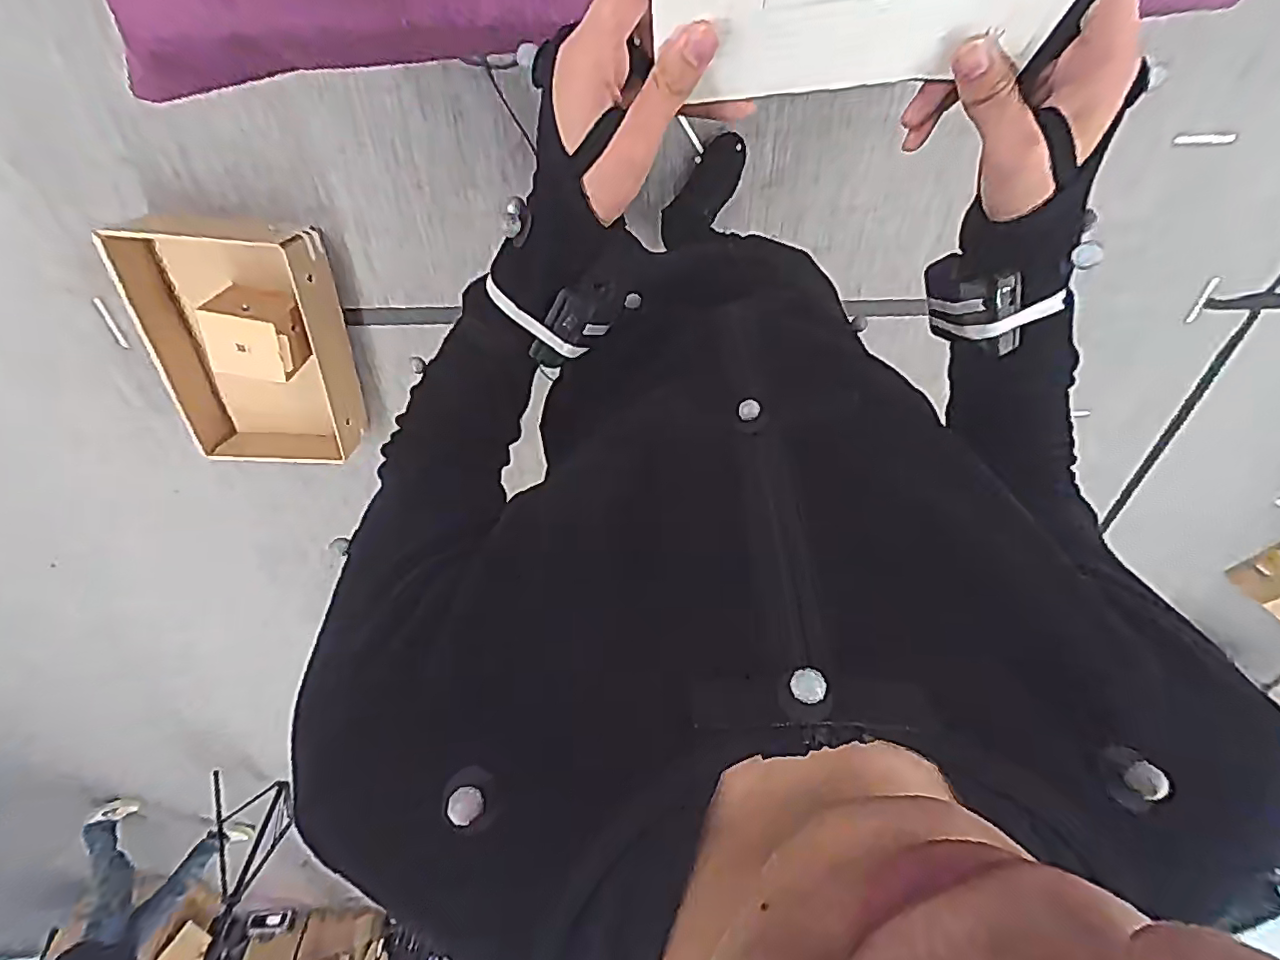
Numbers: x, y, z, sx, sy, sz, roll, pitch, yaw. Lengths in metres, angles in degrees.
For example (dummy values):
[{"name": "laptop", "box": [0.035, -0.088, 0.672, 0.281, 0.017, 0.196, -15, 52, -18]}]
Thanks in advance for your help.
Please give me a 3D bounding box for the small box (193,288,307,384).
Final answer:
[{"name": "small box", "box": [-0.974, -0.369, 1.374, 0.179, 0.176, 0.168, 8, 128, -11]}]
